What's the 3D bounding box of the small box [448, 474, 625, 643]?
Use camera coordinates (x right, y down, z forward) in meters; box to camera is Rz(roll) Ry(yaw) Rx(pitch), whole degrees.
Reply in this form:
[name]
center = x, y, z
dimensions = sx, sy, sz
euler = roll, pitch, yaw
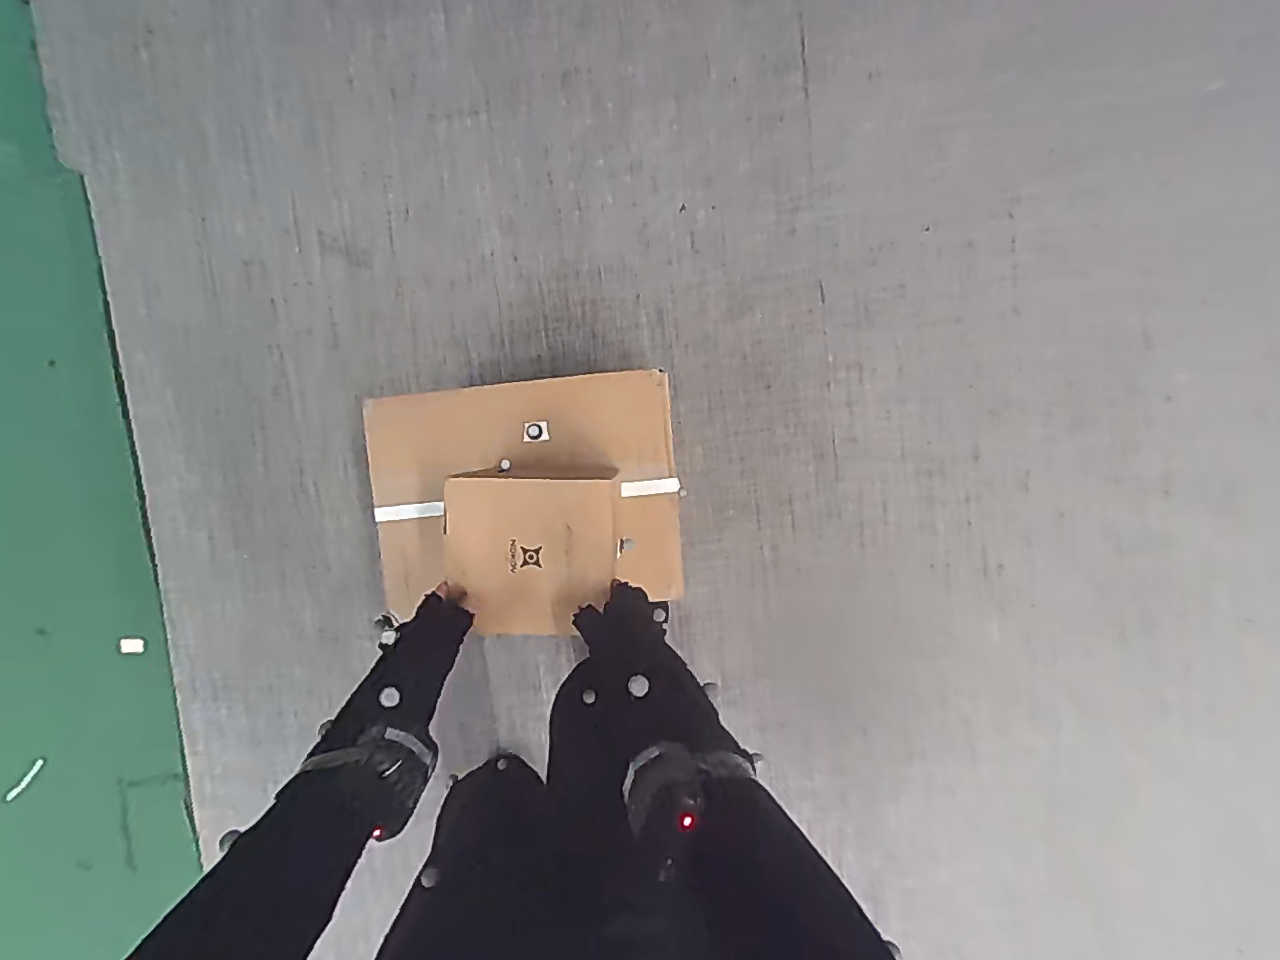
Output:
[small box]
center = -0.109, 0.082, 0.638
dimensions = 0.179, 0.176, 0.168
euler = -1, 95, 0
